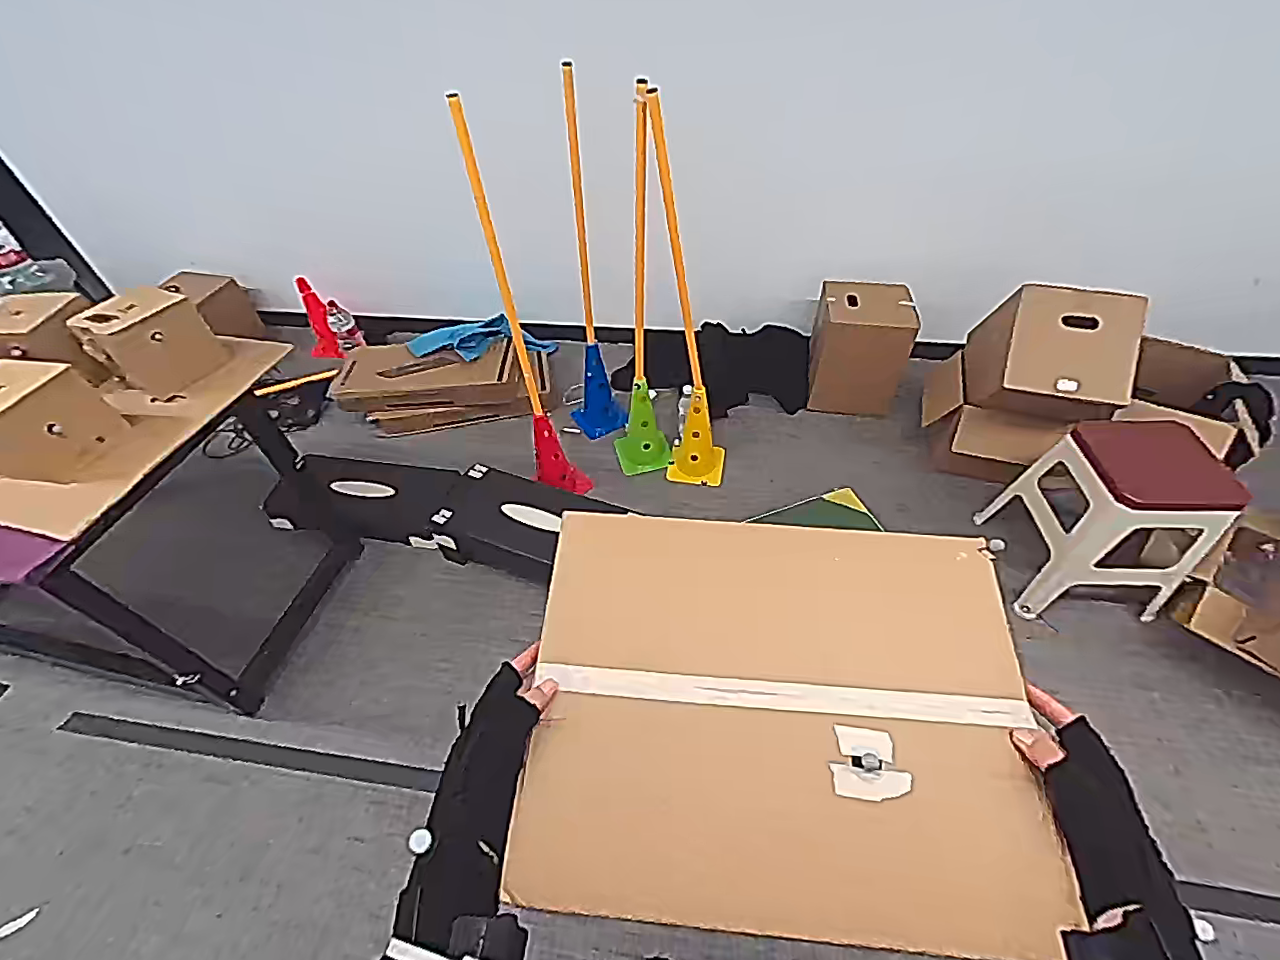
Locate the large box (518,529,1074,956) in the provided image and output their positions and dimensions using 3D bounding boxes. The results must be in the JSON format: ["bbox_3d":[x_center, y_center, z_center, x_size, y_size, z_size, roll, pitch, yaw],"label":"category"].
[{"bbox_3d":[0.117,0.266,0.587,0.408,0.320,0.320,3,60,3],"label":"large box"}]
